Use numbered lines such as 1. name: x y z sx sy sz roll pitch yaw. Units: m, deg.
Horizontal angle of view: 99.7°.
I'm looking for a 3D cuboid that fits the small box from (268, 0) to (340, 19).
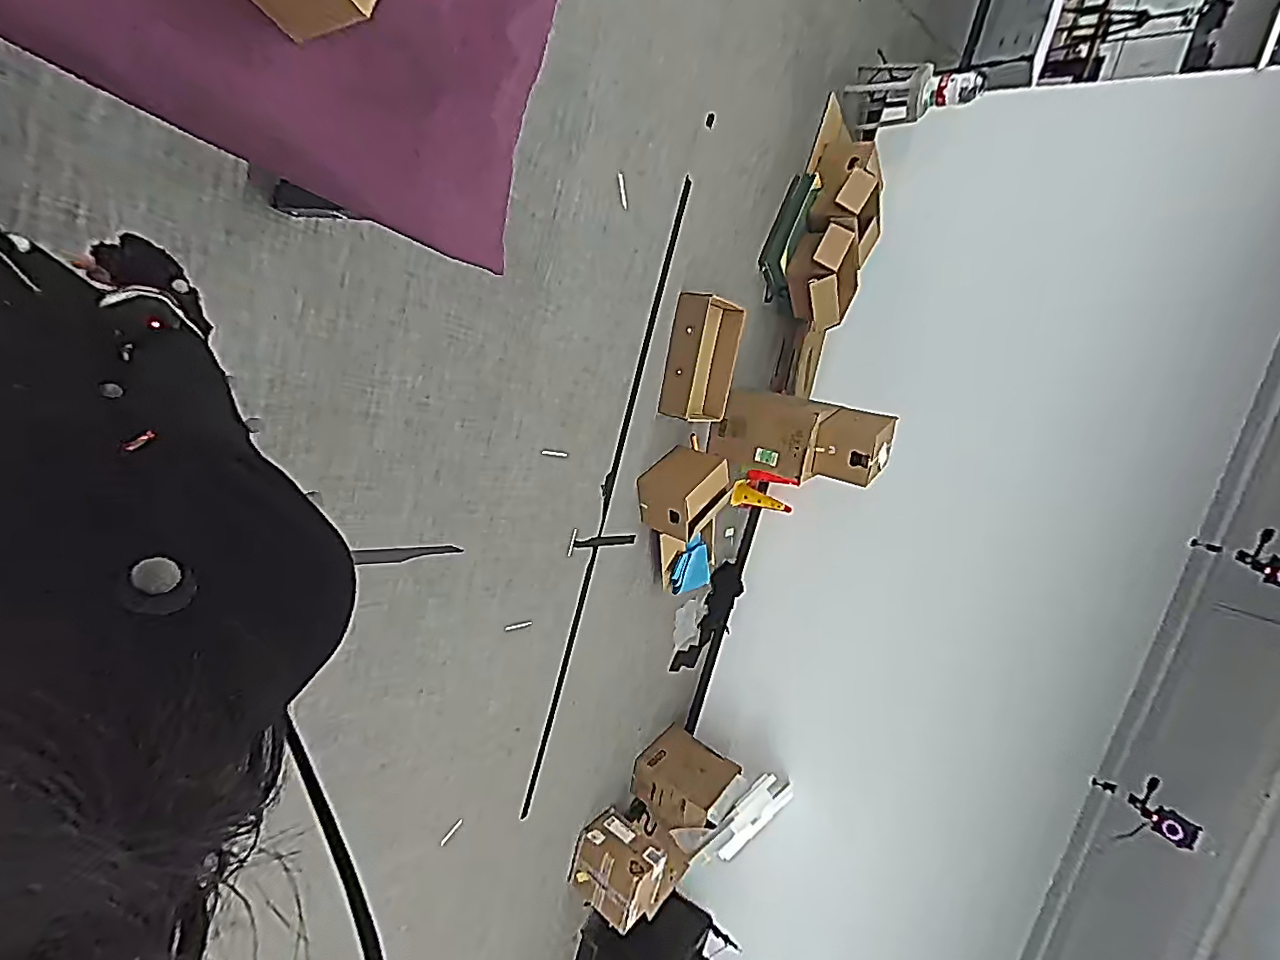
1. small box: -0.344 -0.598 0.518 0.179 0.176 0.168 32 80 -57
